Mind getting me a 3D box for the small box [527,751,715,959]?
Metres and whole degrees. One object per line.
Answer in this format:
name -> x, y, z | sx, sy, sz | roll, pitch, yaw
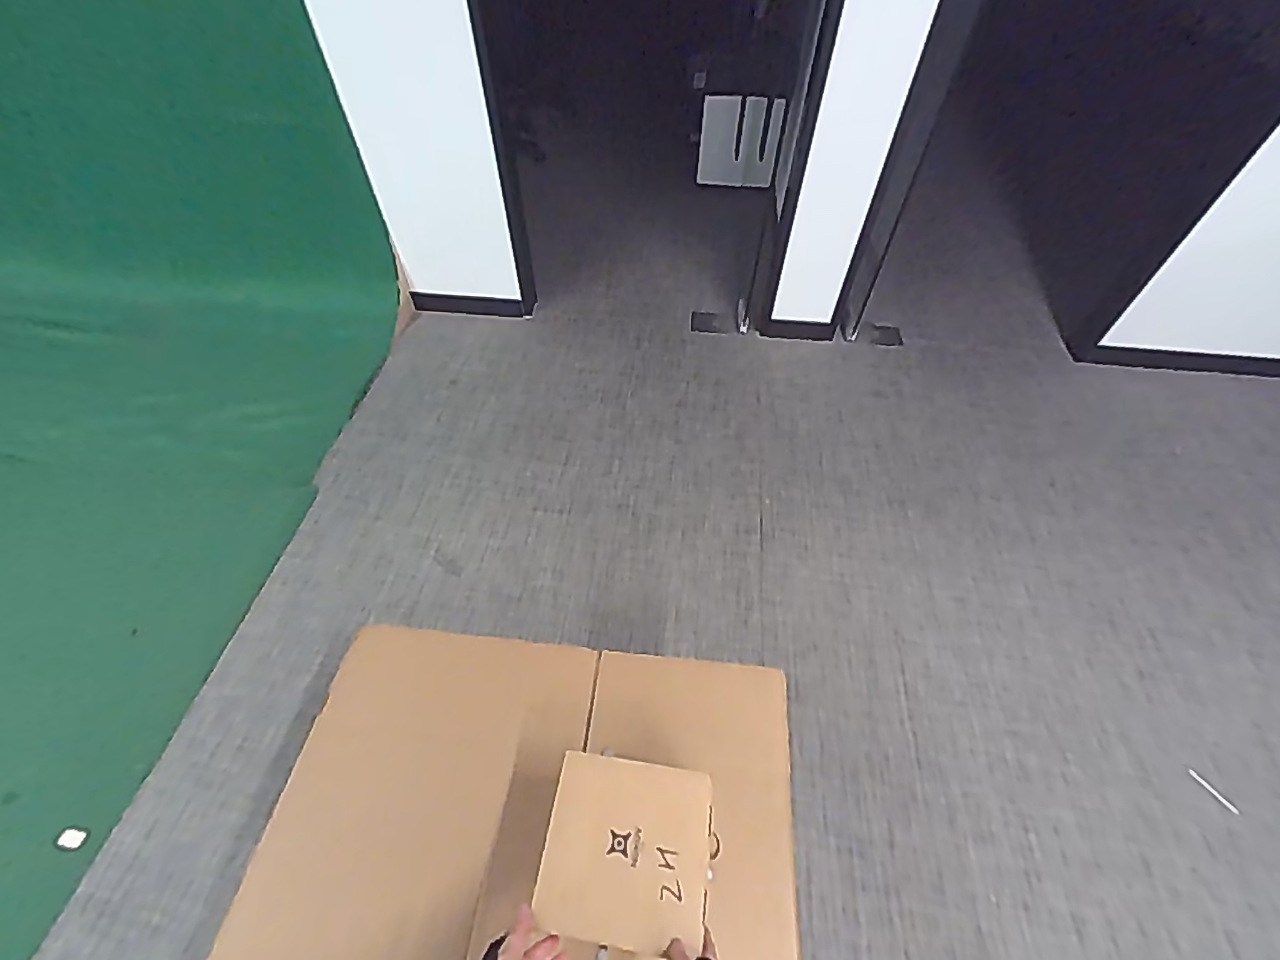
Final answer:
small box -> -0.011, 0.439, 0.631 | 0.179, 0.176, 0.168 | 7, 51, 7
